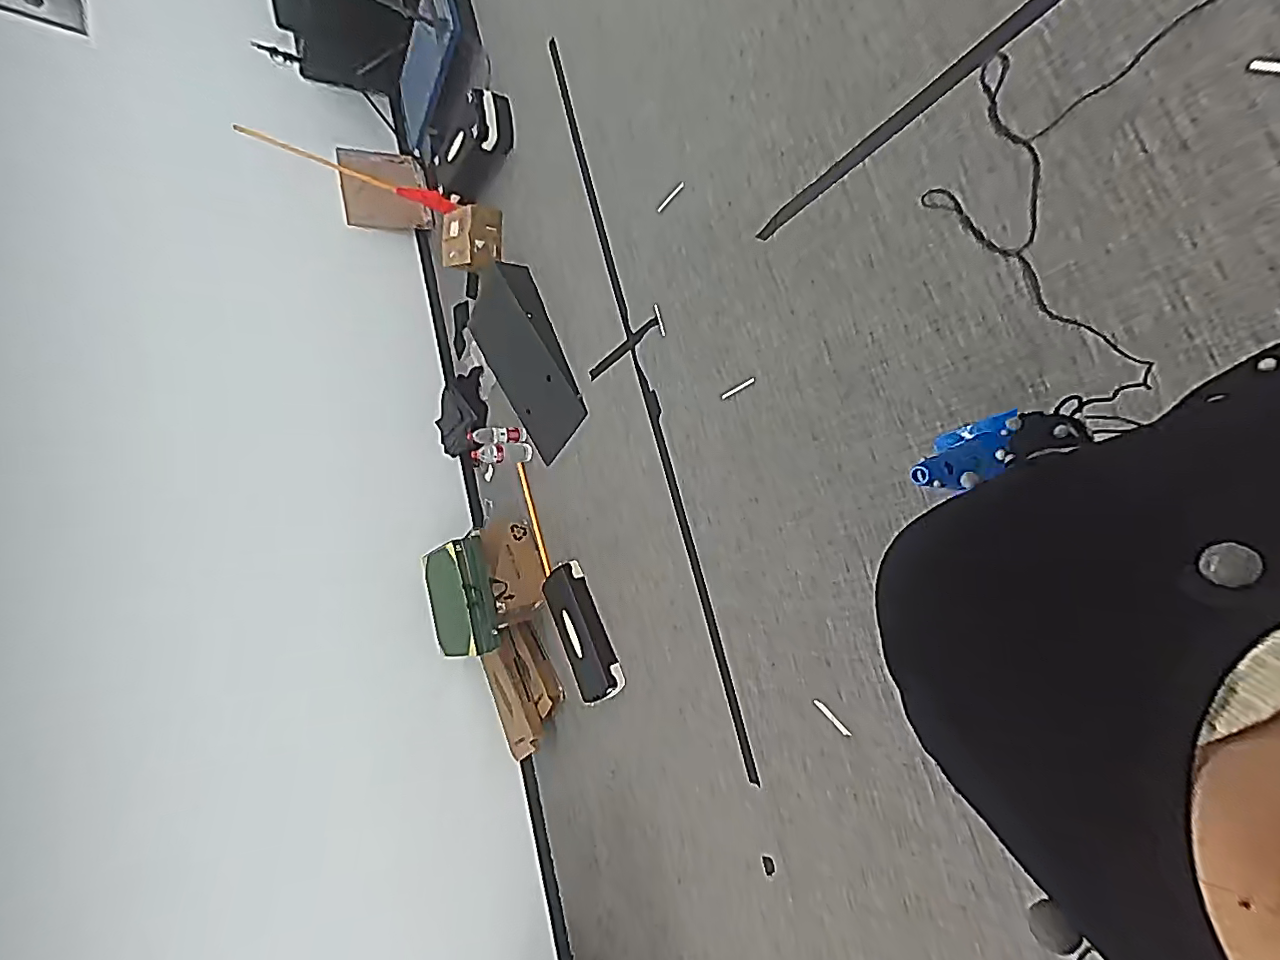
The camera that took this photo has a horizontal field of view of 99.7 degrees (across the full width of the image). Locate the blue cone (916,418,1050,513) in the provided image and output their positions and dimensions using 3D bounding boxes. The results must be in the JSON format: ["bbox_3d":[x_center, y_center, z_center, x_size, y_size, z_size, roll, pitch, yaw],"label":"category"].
[{"bbox_3d":[0.683,-0.018,1.144,0.193,0.380,0.192,-26,76,51],"label":"blue cone"}]
